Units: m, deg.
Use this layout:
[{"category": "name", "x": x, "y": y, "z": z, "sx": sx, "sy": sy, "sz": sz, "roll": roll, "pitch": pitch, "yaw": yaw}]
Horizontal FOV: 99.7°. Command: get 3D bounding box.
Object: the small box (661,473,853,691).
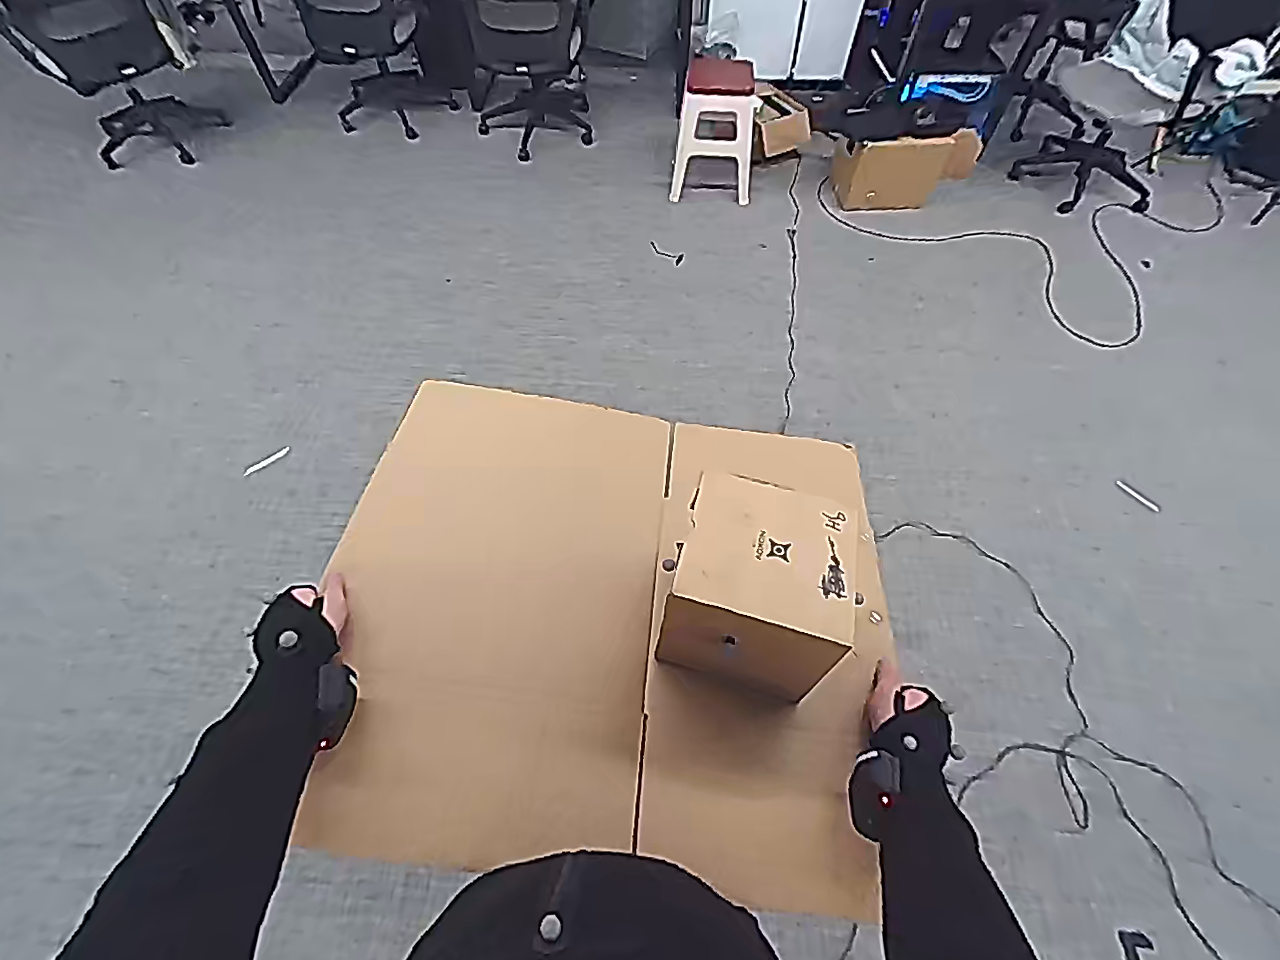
[{"category": "small box", "x": 0.127, "y": 0.121, "z": 0.621, "sx": 0.179, "sy": 0.176, "sz": 0.168, "roll": 14, "pitch": 53, "yaw": 8}]
